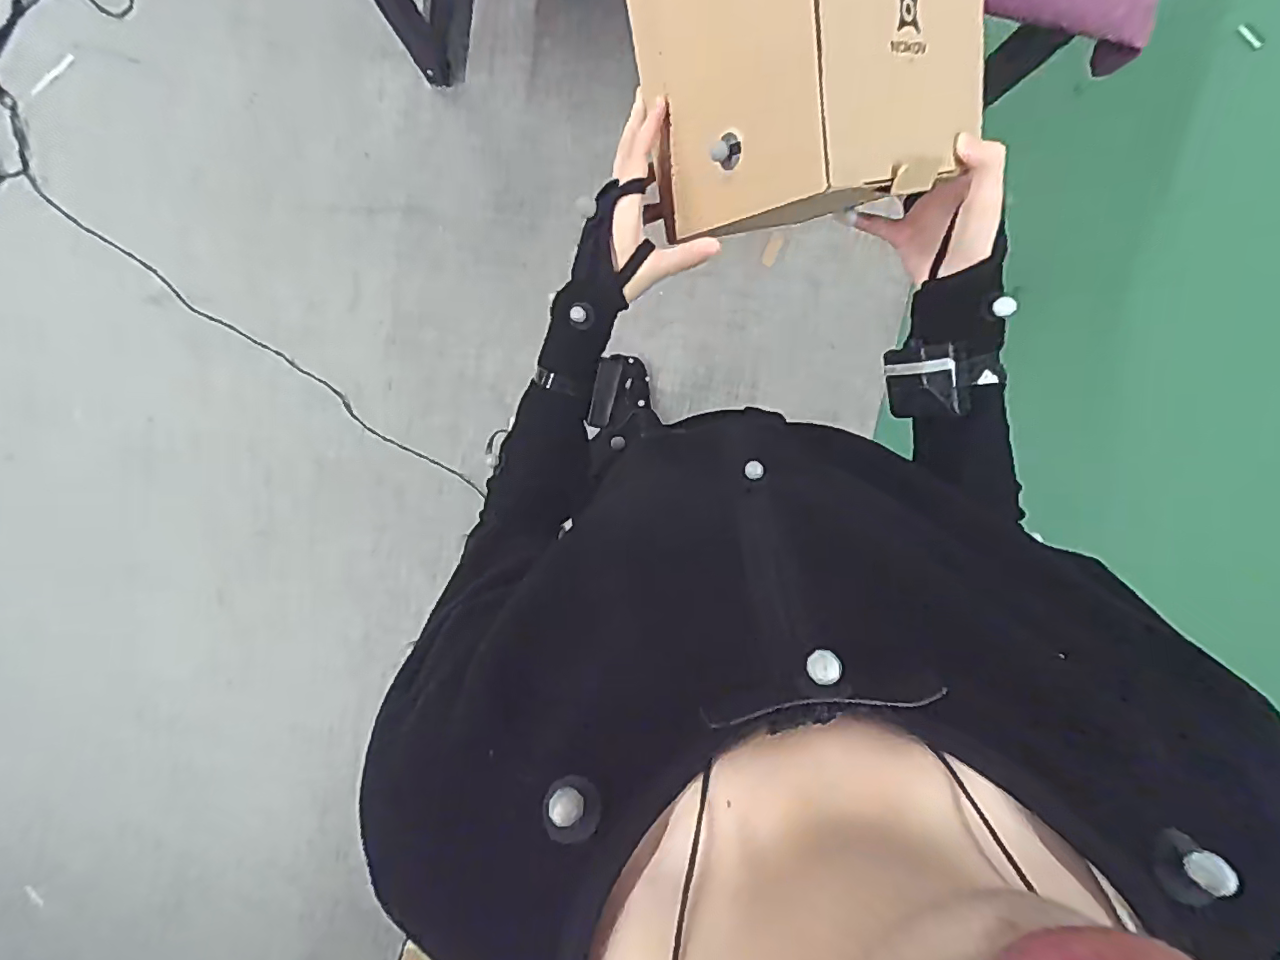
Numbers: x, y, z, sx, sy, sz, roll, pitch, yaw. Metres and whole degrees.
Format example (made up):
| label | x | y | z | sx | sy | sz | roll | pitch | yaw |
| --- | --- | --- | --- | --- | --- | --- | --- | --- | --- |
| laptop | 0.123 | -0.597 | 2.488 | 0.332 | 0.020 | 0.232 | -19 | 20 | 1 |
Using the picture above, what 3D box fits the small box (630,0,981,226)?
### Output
| label | x | y | z | sx | sy | sz | roll | pitch | yaw |
| --- | --- | --- | --- | --- | --- | --- | --- | --- | --- |
| small box | 0.113 | -0.293 | 0.390 | 0.168 | 0.176 | 0.179 | -21 | 111 | -27 |
